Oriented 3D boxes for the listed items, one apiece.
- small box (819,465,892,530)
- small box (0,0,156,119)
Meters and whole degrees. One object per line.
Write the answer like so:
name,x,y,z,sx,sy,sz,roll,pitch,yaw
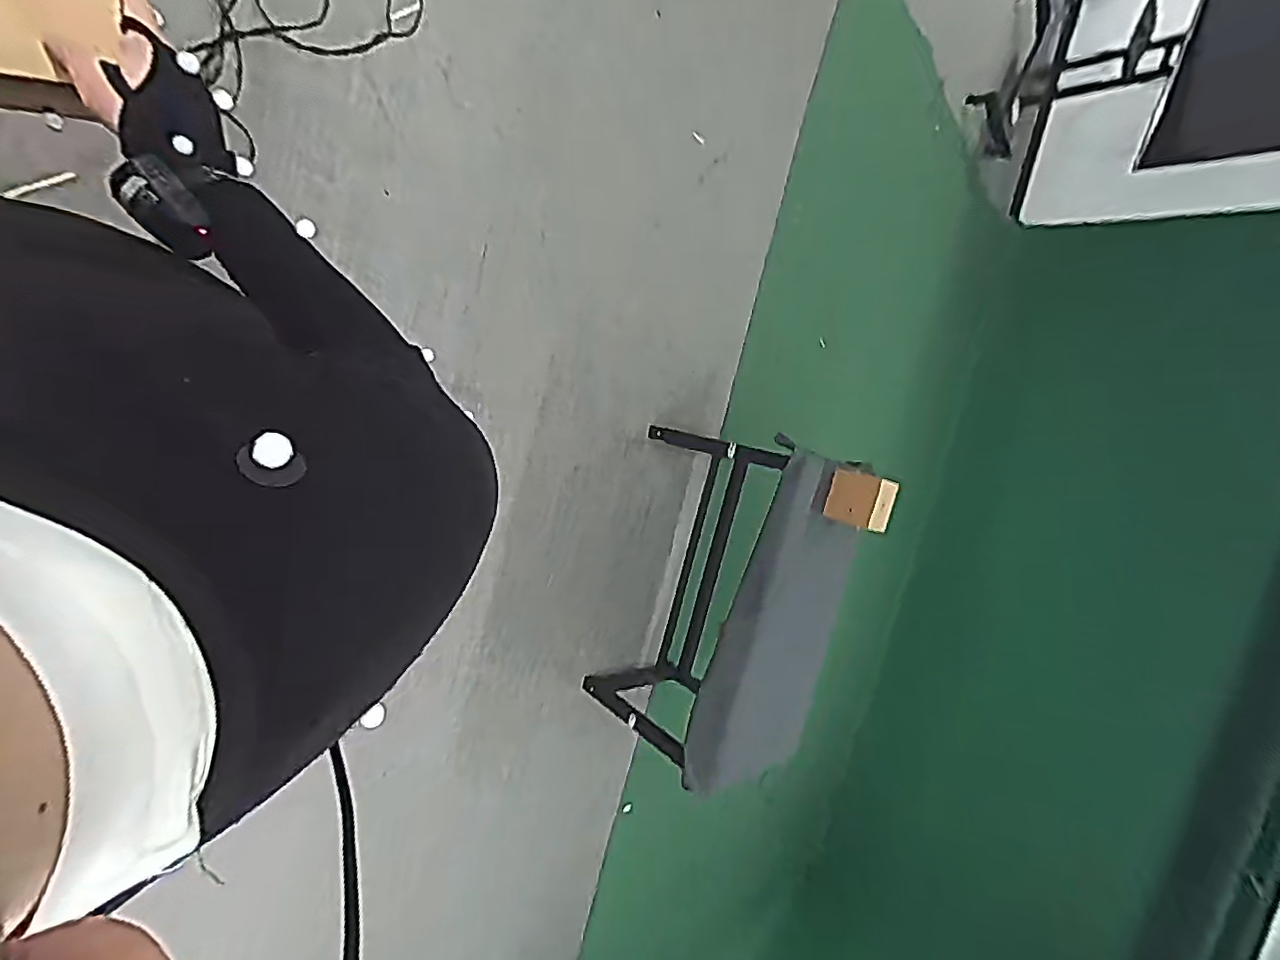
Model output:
small box,0.756,0.061,1.908,0.168,0.176,0.179,14,94,-49
small box,-0.530,-0.416,0.441,0.179,0.176,0.168,-8,114,-31
